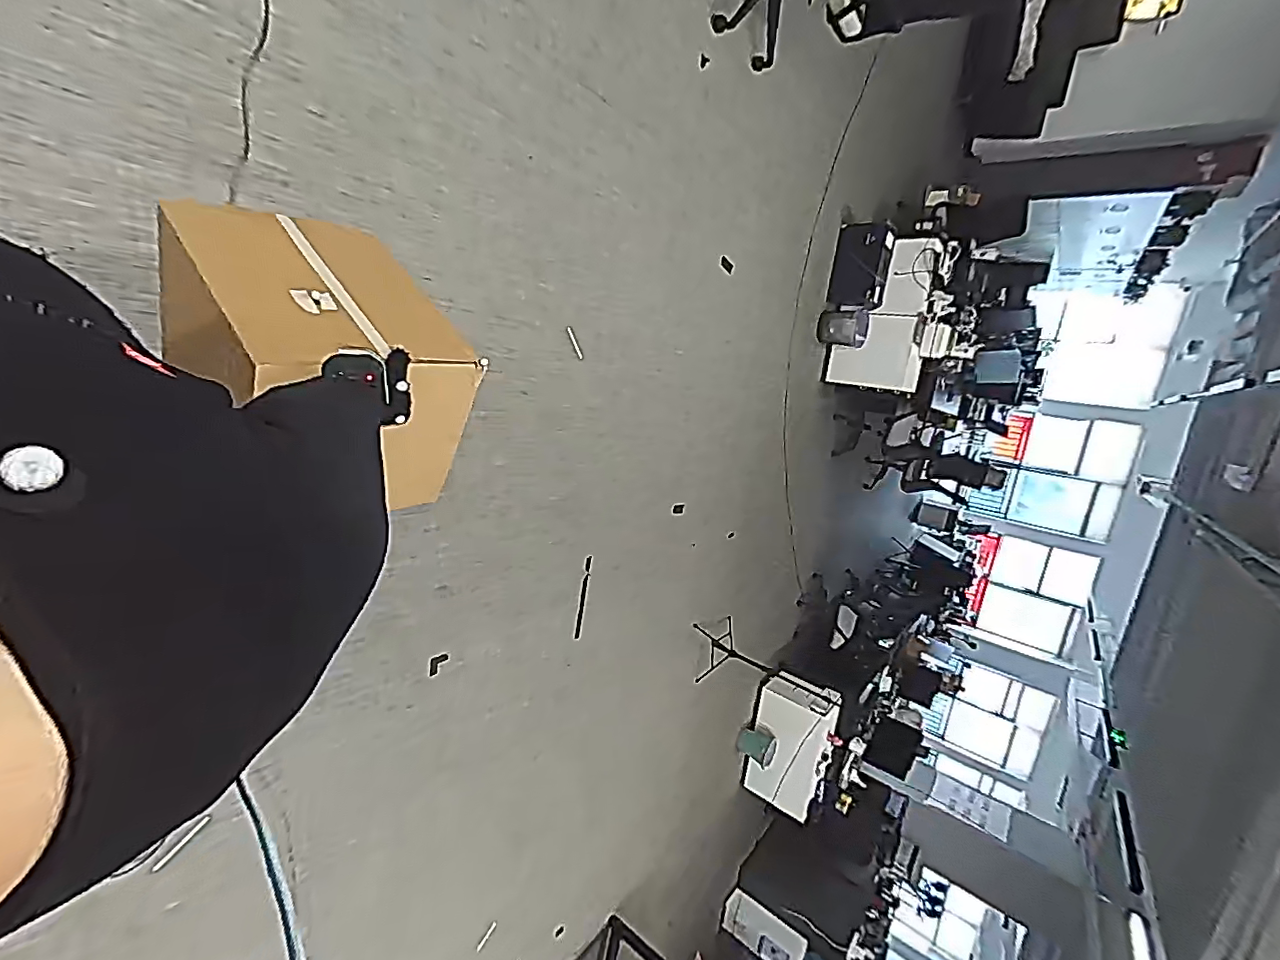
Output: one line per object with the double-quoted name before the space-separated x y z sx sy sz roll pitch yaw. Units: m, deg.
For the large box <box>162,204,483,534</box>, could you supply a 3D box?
"large box" -0.541 -0.181 0.904 0.320 0.408 0.320 -15 147 -49
